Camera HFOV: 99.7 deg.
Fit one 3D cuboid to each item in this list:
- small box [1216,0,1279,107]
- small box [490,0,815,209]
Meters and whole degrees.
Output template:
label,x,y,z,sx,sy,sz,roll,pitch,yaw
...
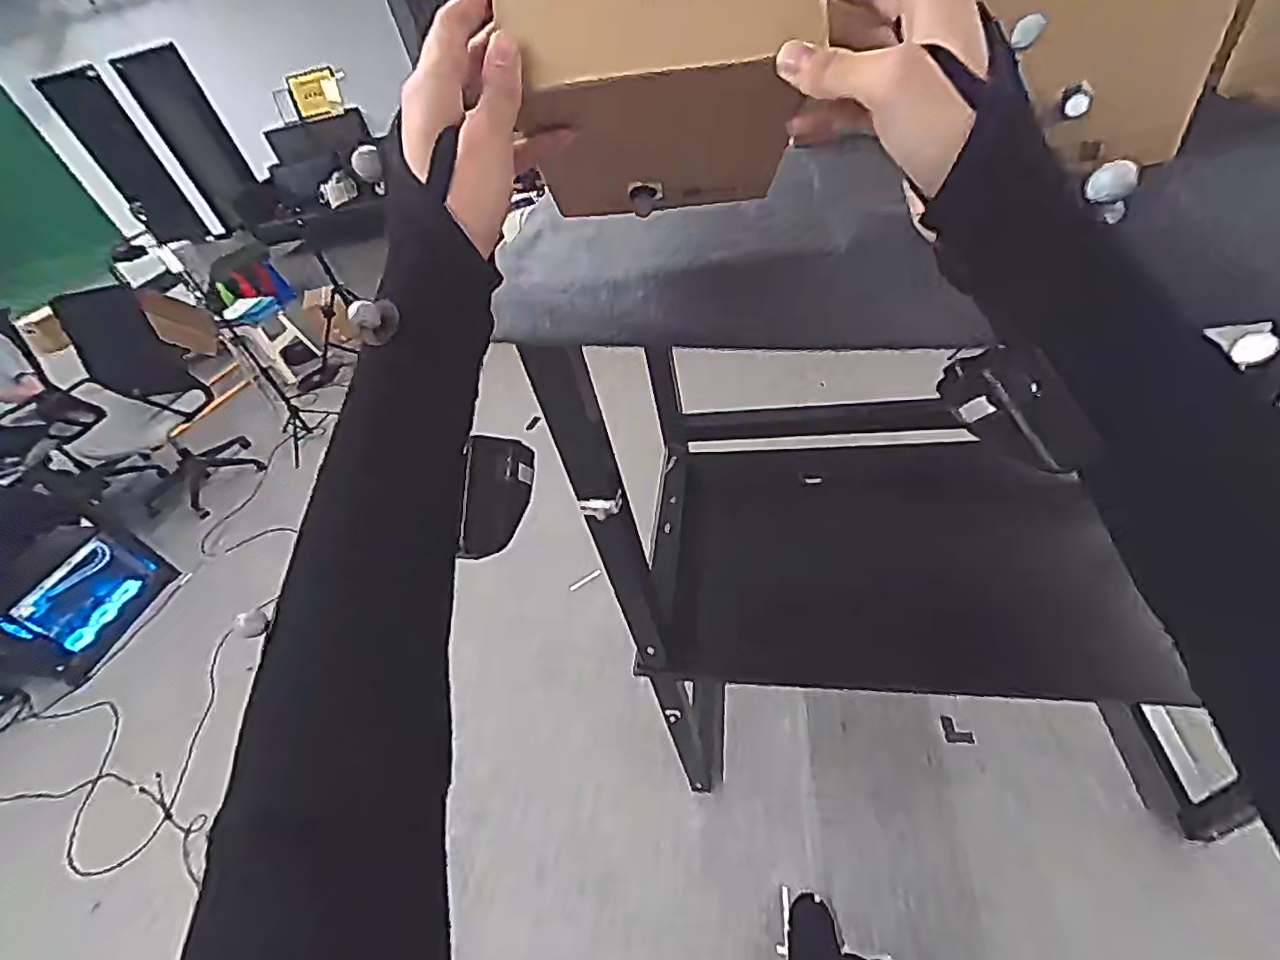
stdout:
label,x,y,z,sx,sy,sz,roll,pitch,yaw
small box,0.590,-0.376,0.382,0.168,0.176,0.179,-3,41,14
small box,0.004,-0.306,0.349,0.168,0.179,0.176,-5,3,3
